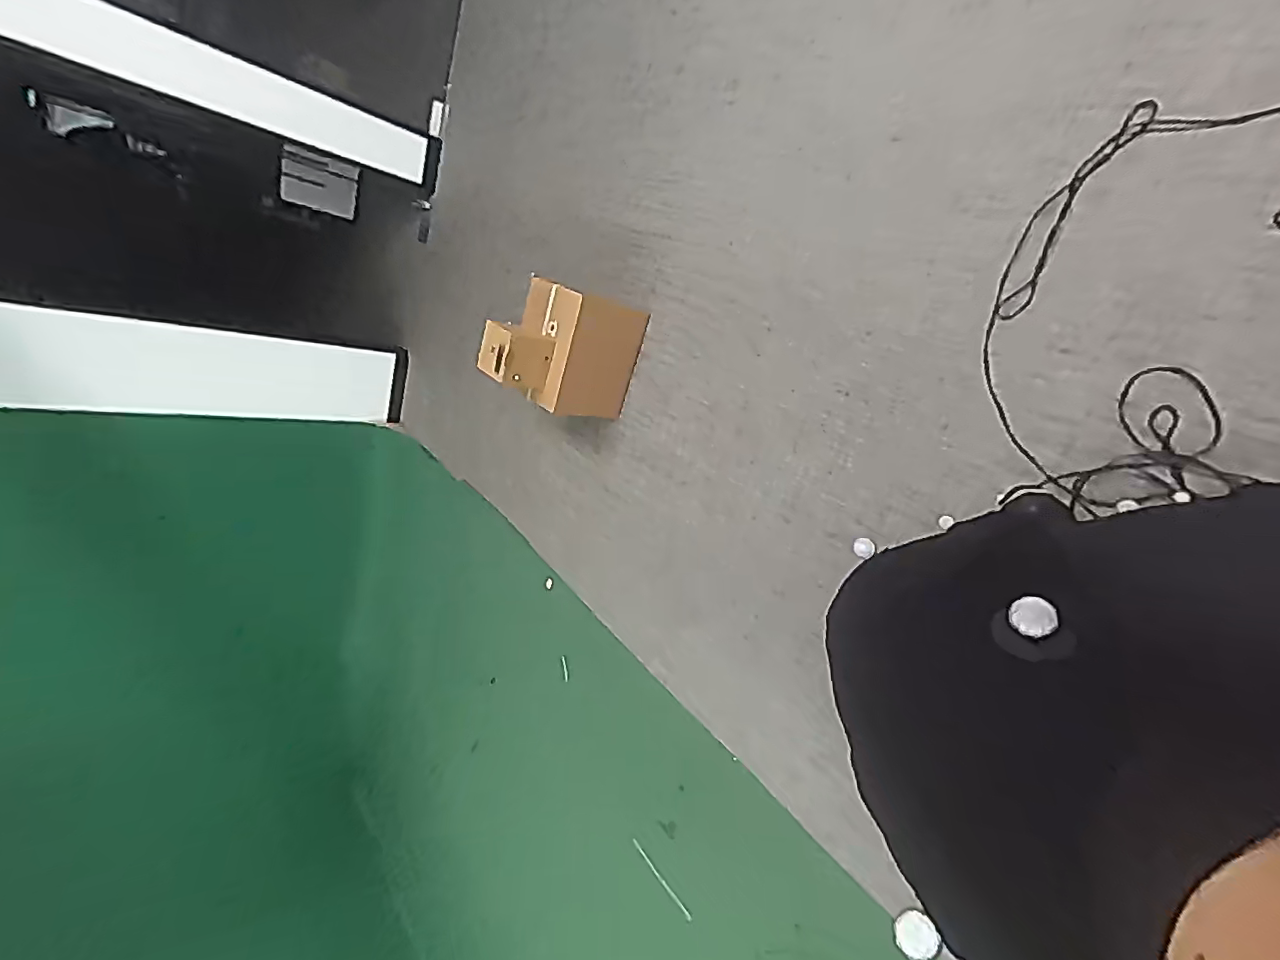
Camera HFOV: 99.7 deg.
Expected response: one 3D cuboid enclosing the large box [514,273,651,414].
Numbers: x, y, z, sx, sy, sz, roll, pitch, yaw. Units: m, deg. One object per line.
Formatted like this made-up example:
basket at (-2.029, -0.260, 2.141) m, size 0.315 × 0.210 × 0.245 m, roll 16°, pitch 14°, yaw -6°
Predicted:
large box at (-0.212, -0.486, 1.968) m, size 0.320 × 0.320 × 0.408 m, roll 34°, pitch 114°, yaw 38°
